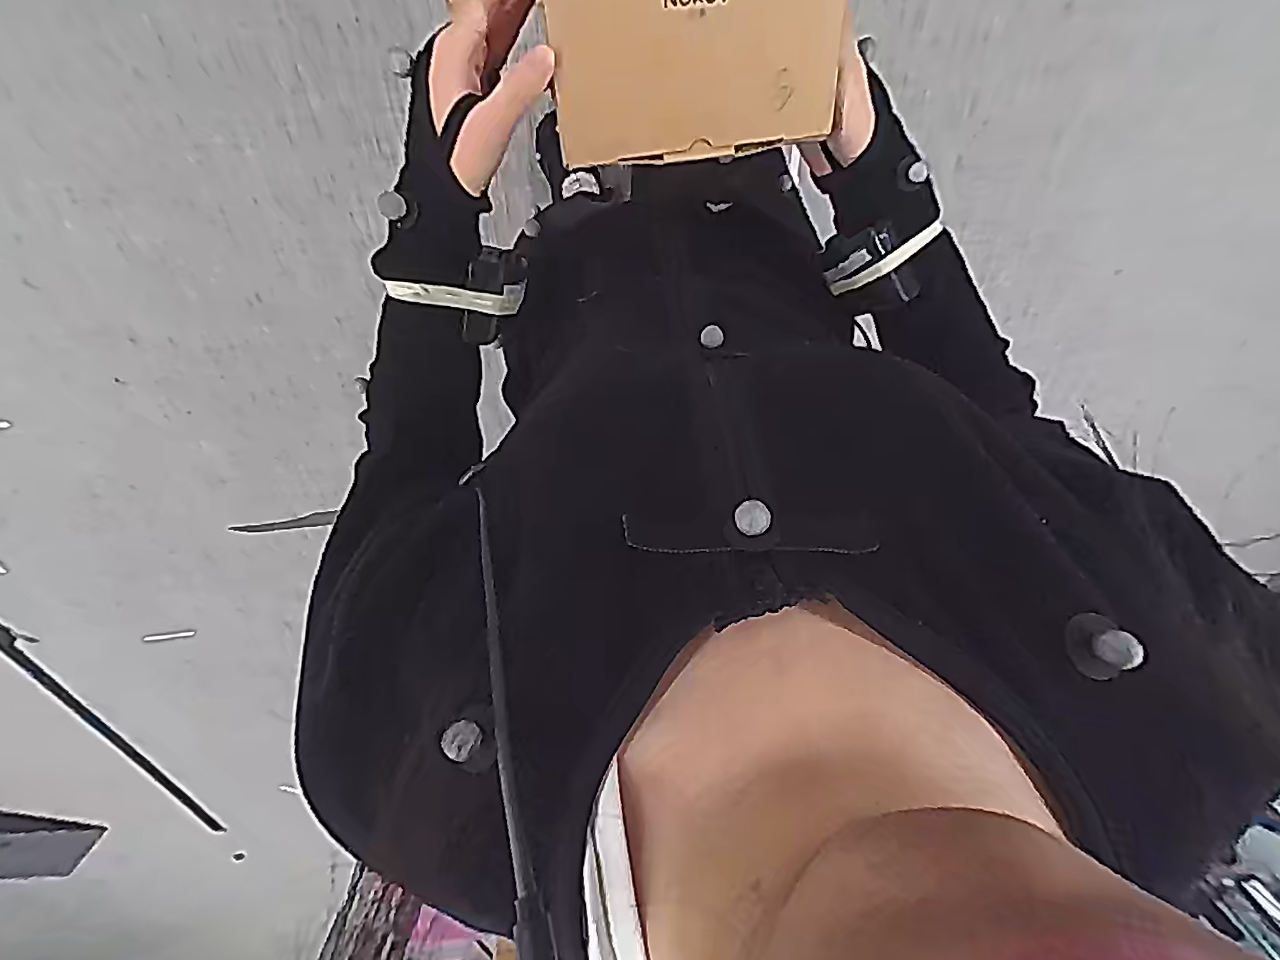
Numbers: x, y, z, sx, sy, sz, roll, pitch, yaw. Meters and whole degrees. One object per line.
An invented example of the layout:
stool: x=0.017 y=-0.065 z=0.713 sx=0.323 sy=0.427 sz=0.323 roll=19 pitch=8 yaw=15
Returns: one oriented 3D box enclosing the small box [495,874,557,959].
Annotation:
small box: x=-0.327 y=1.280 z=1.570 sx=0.168 sy=0.176 sz=0.179 roll=-2 pitch=126 yaw=-11
